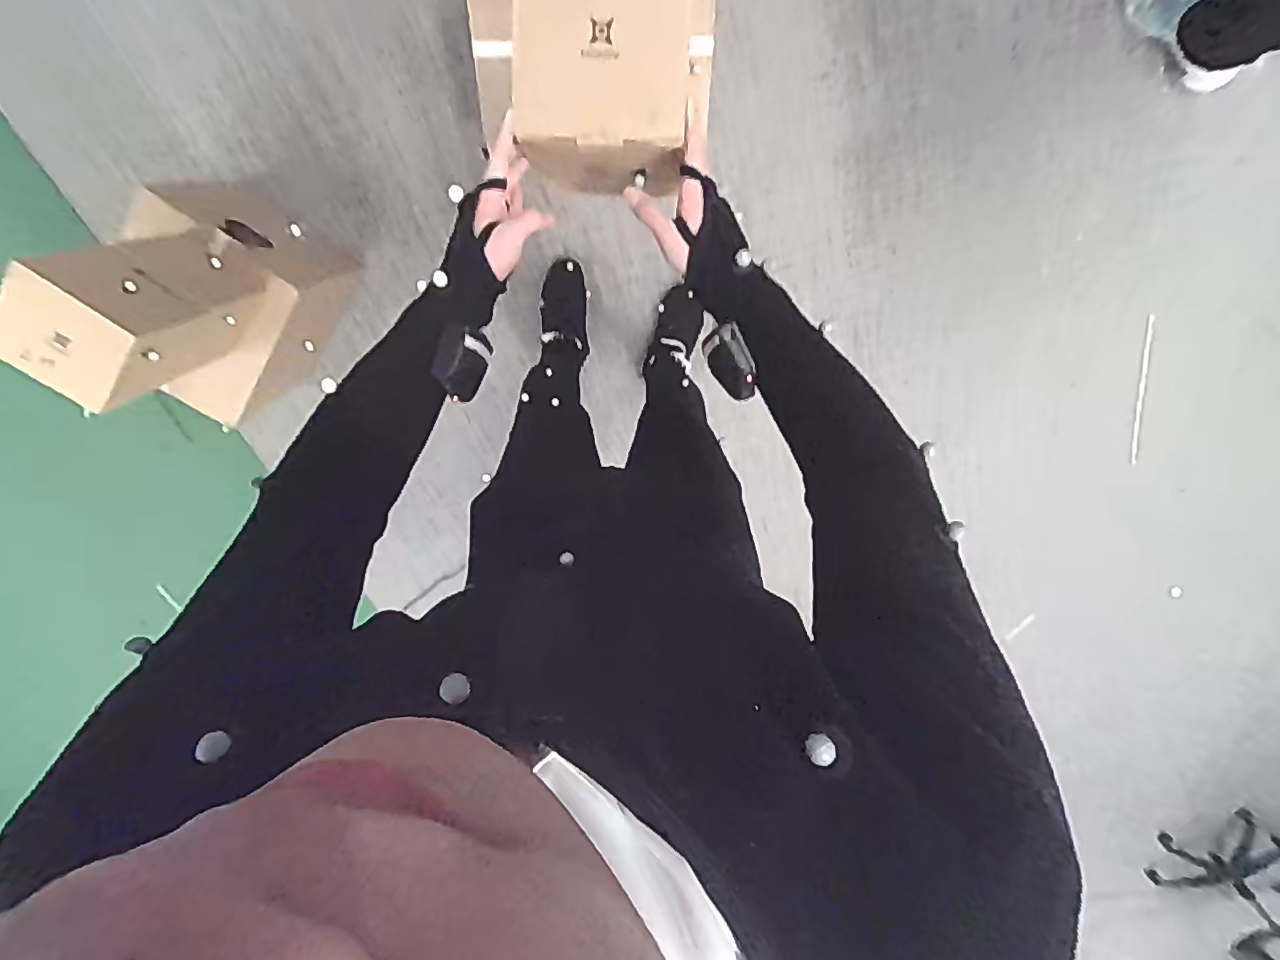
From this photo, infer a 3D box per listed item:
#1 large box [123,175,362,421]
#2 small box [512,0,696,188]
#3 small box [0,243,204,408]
[{"bbox_3d":[-0.926,-0.425,1.258,0.320,0.320,0.408,35,115,-18],"label":"large box"},{"bbox_3d":[-0.030,-0.422,0.562,0.168,0.176,0.179,3,103,1],"label":"small box"},{"bbox_3d":[-0.867,-0.257,0.880,0.168,0.176,0.179,39,113,-20],"label":"small box"}]
